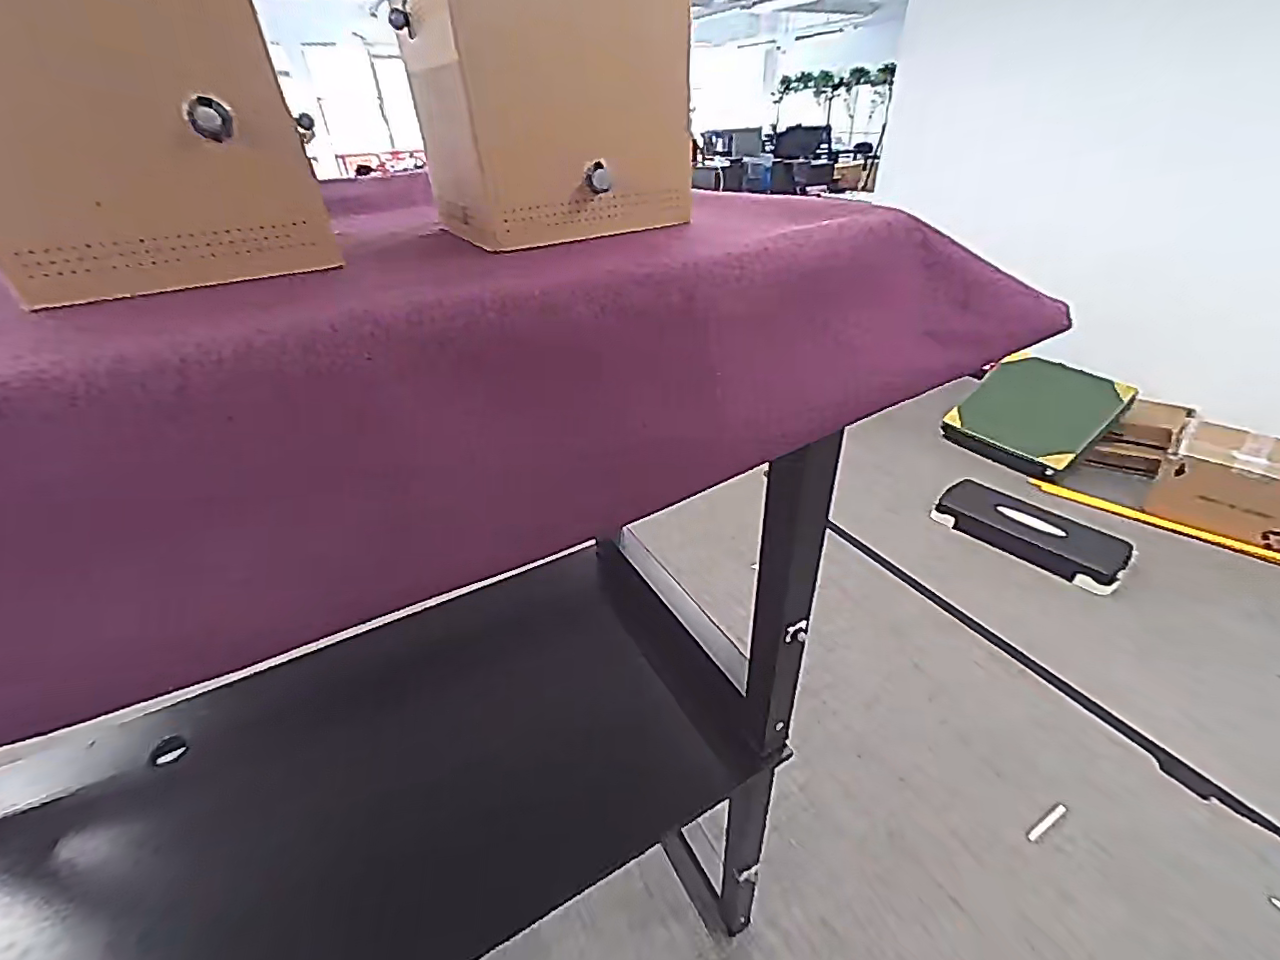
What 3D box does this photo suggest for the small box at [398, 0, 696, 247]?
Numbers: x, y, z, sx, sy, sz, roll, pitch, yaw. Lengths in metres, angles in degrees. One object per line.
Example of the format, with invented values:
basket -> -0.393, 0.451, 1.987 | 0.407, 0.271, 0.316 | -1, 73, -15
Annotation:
small box -> -0.073, -0.297, 0.436 | 0.179, 0.176, 0.168 | -20, 36, -24

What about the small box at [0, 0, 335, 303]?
small box -> -0.323, -0.231, 0.361 | 0.179, 0.176, 0.168 | -19, 36, -22
